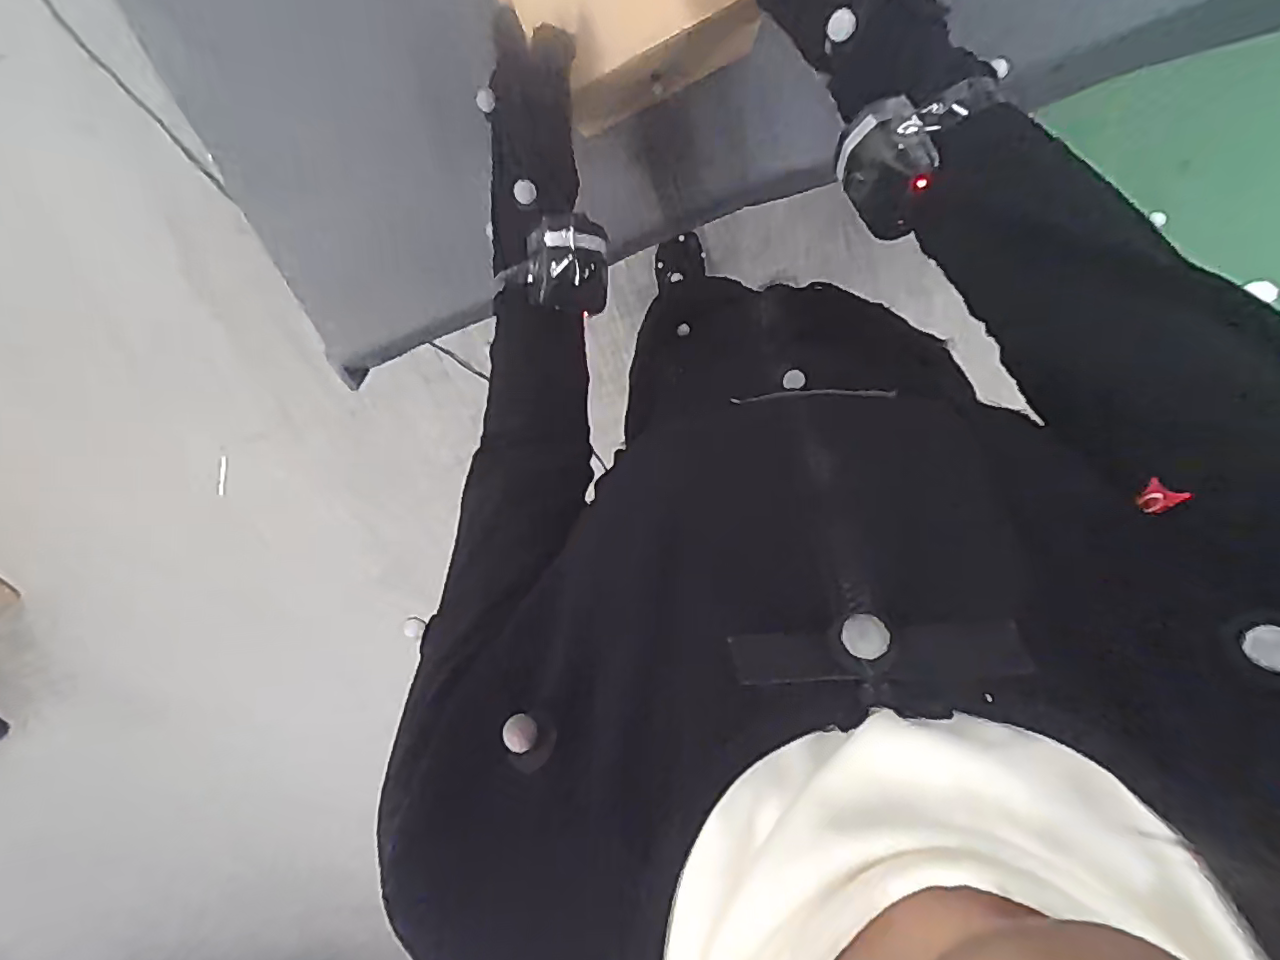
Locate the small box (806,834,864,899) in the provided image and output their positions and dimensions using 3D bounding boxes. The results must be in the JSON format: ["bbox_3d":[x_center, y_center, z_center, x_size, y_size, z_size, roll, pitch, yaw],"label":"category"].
[{"bbox_3d":[0.778,1.567,2.179,0.179,0.176,0.168,-18,115,11],"label":"small box"}]

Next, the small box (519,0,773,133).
[{"bbox_3d":[-0.010,-0.415,0.434,0.179,0.176,0.168,-23,112,13],"label":"small box"}]

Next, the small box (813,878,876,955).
[{"bbox_3d":[0.761,1.639,2.032,0.179,0.176,0.168,-17,115,12],"label":"small box"}]
